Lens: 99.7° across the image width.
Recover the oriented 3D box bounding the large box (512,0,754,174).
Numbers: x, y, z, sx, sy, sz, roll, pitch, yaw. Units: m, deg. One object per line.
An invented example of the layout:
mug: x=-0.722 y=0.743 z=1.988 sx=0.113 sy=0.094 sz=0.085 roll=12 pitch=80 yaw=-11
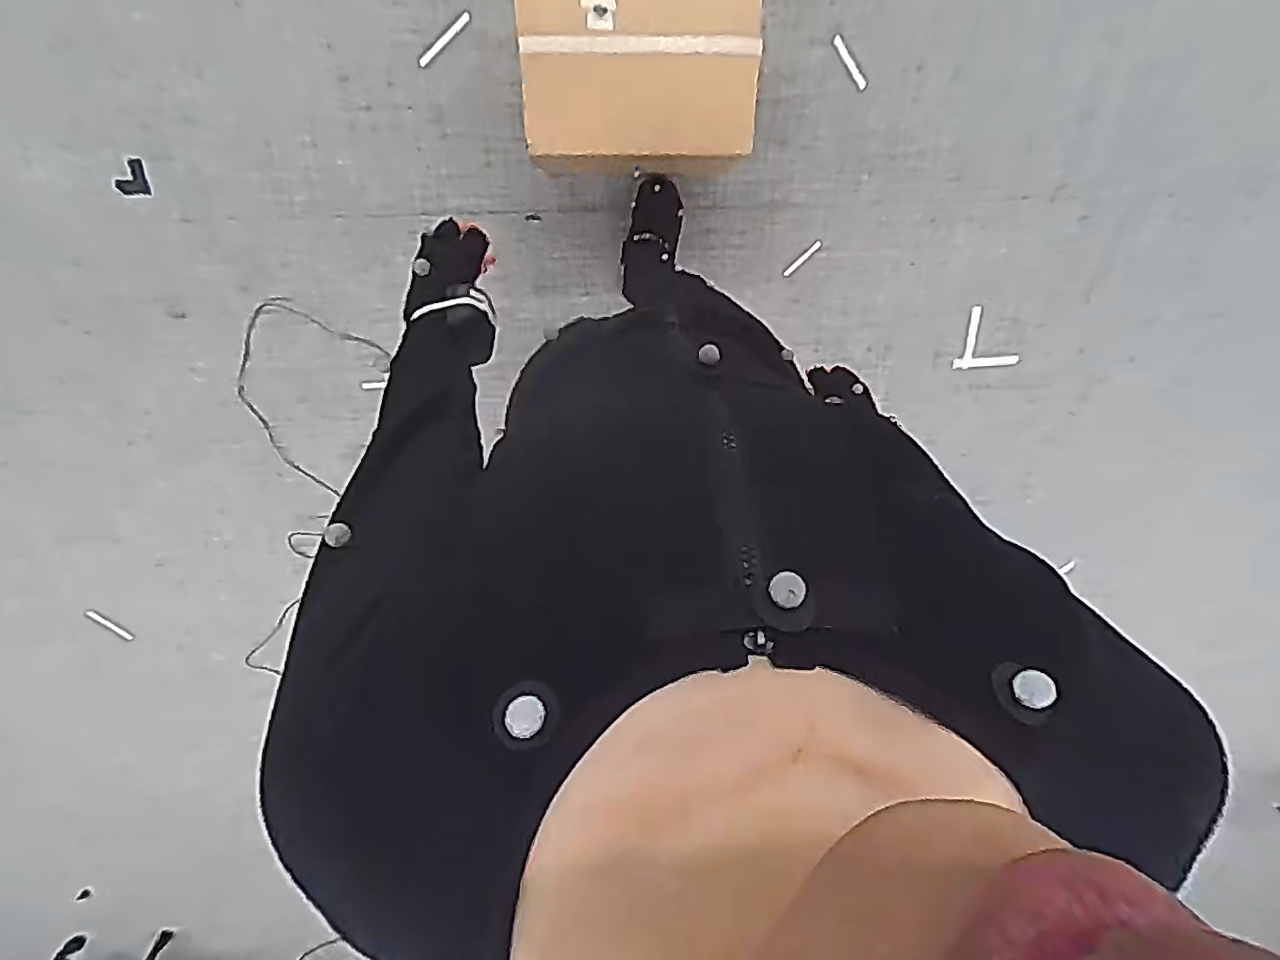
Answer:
large box: x=-0.013 y=-0.783 z=1.044 sx=0.408 sy=0.320 sz=0.320 roll=-1 pitch=113 yaw=-2
